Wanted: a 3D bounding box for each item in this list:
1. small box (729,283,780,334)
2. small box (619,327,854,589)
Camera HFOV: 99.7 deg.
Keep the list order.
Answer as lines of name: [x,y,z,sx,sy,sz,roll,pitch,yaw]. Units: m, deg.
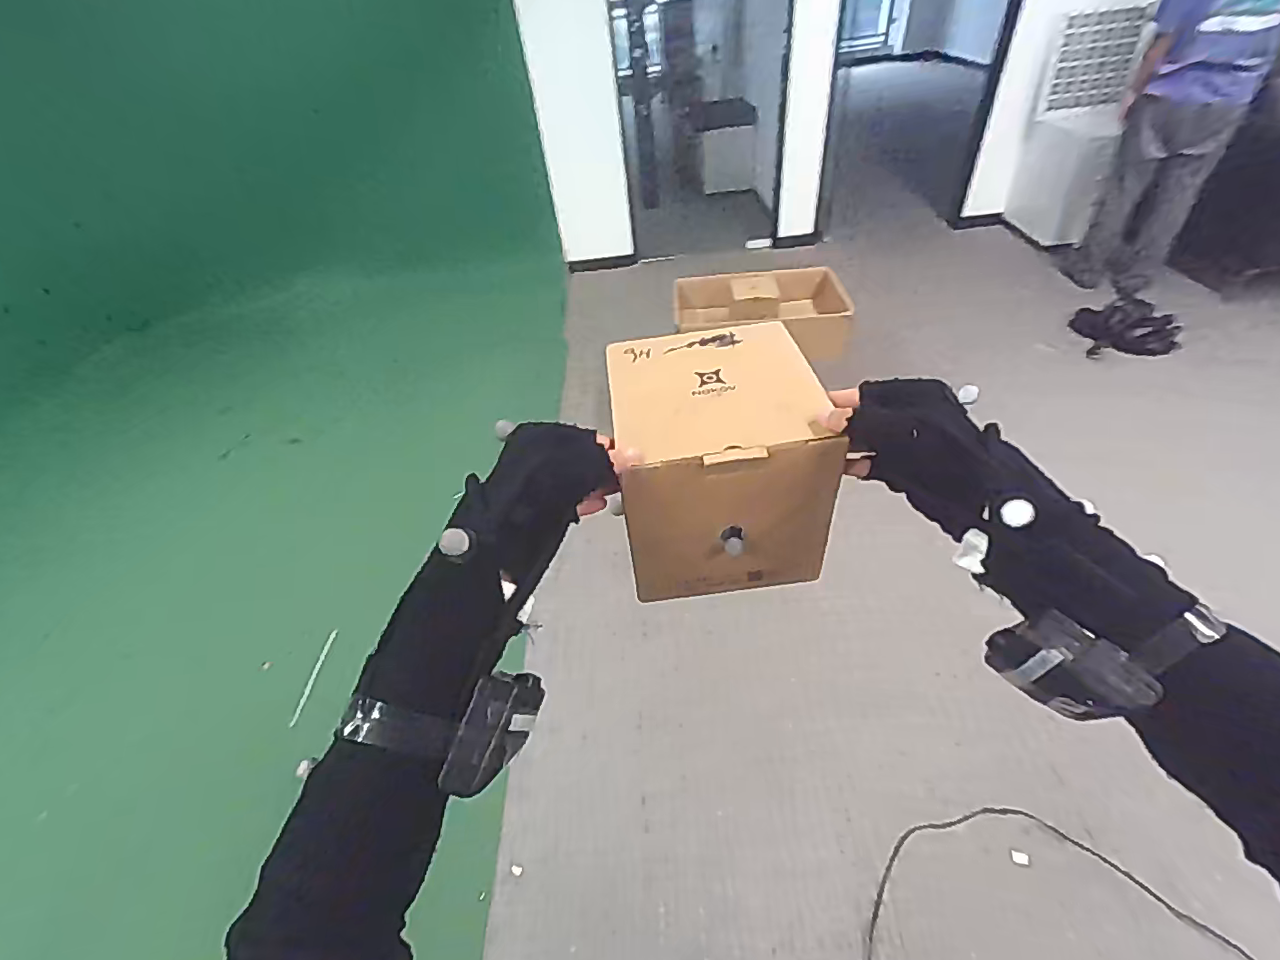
small box: [0.431,-0.632,2.062,0.168,0.176,0.179,-3,41,3]
small box: [0.075,-0.015,0.496,0.168,0.176,0.179,-7,43,0]
